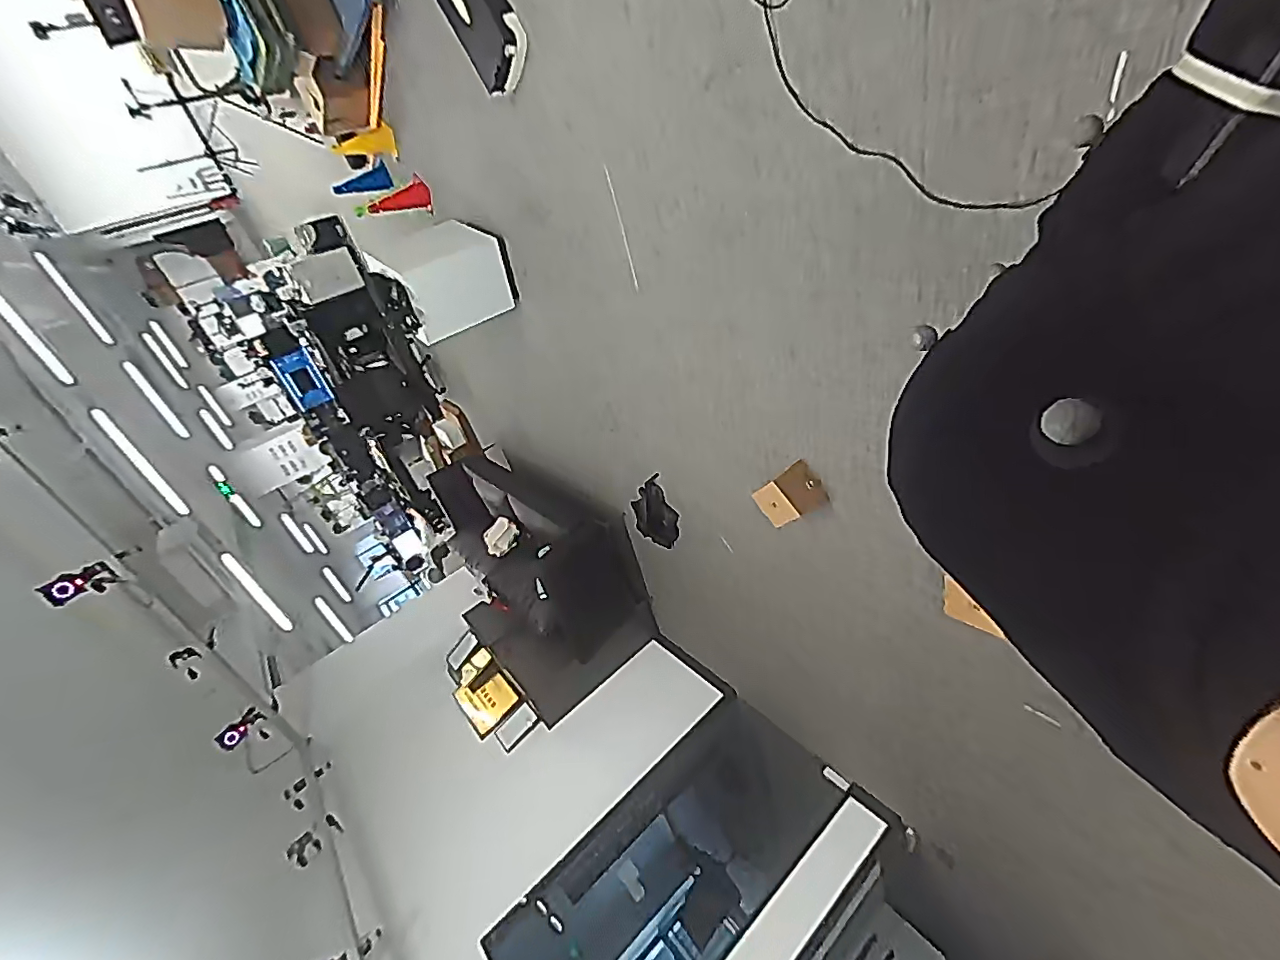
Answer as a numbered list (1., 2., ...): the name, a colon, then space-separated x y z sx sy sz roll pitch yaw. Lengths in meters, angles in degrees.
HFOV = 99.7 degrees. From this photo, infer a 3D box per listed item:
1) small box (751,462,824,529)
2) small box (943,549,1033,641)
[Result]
1. small box: 0.566 0.059 2.072 0.168 0.176 0.179 52 154 6
2. small box: 1.022 0.331 1.591 0.179 0.176 0.168 24 140 49
